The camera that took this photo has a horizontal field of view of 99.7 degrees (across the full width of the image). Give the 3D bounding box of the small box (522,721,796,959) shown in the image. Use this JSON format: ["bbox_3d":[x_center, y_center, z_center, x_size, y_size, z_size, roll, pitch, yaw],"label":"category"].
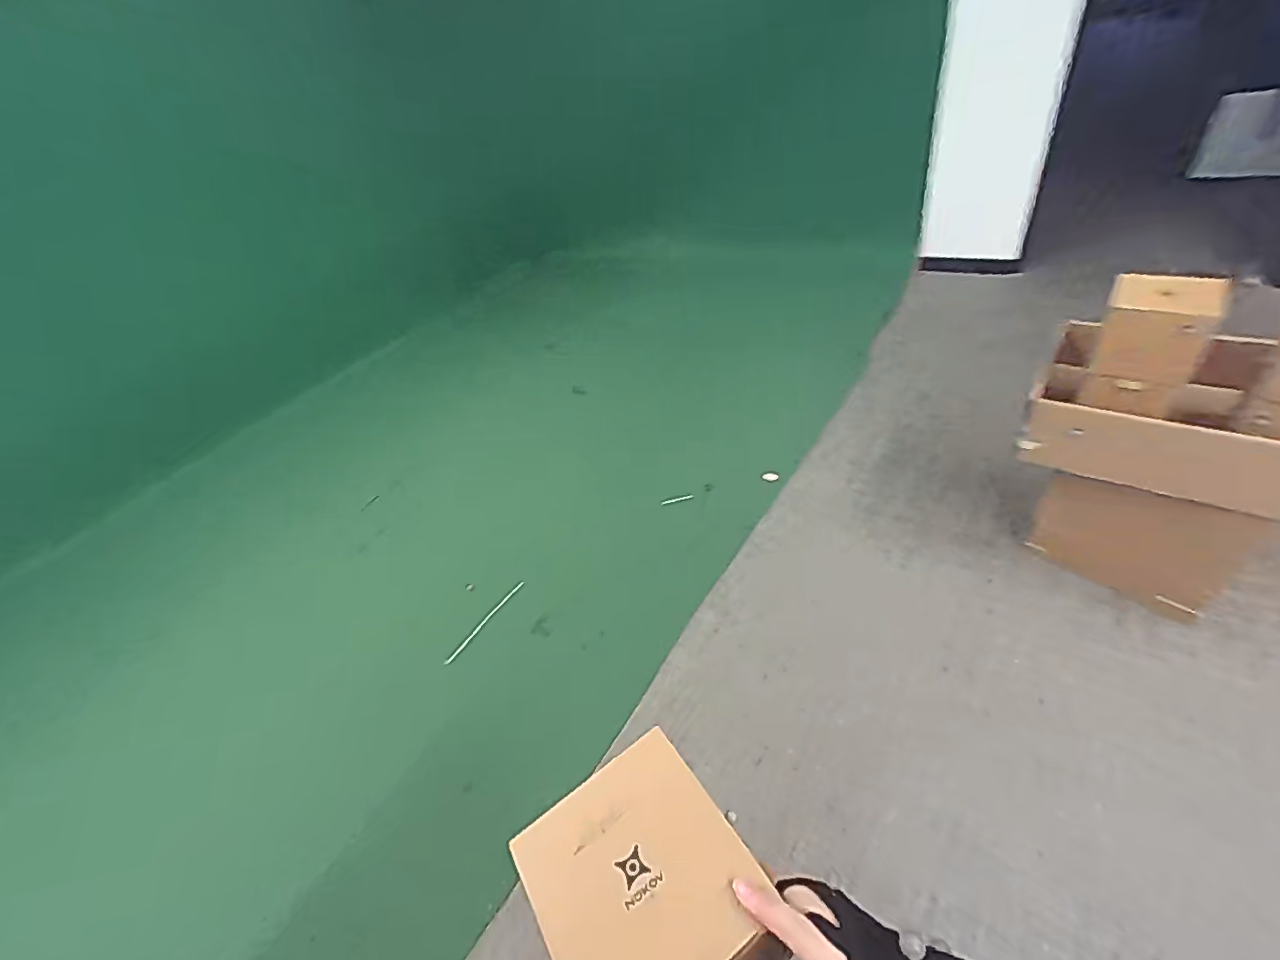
[{"bbox_3d":[0.023,0.370,0.492,0.168,0.176,0.179,-31,41,-15],"label":"small box"}]

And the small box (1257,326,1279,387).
[{"bbox_3d":[1.338,-0.270,1.026,0.168,0.176,0.179,26,58,38],"label":"small box"}]

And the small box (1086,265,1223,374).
[{"bbox_3d":[1.124,-0.354,1.191,0.179,0.176,0.168,19,54,33],"label":"small box"}]
